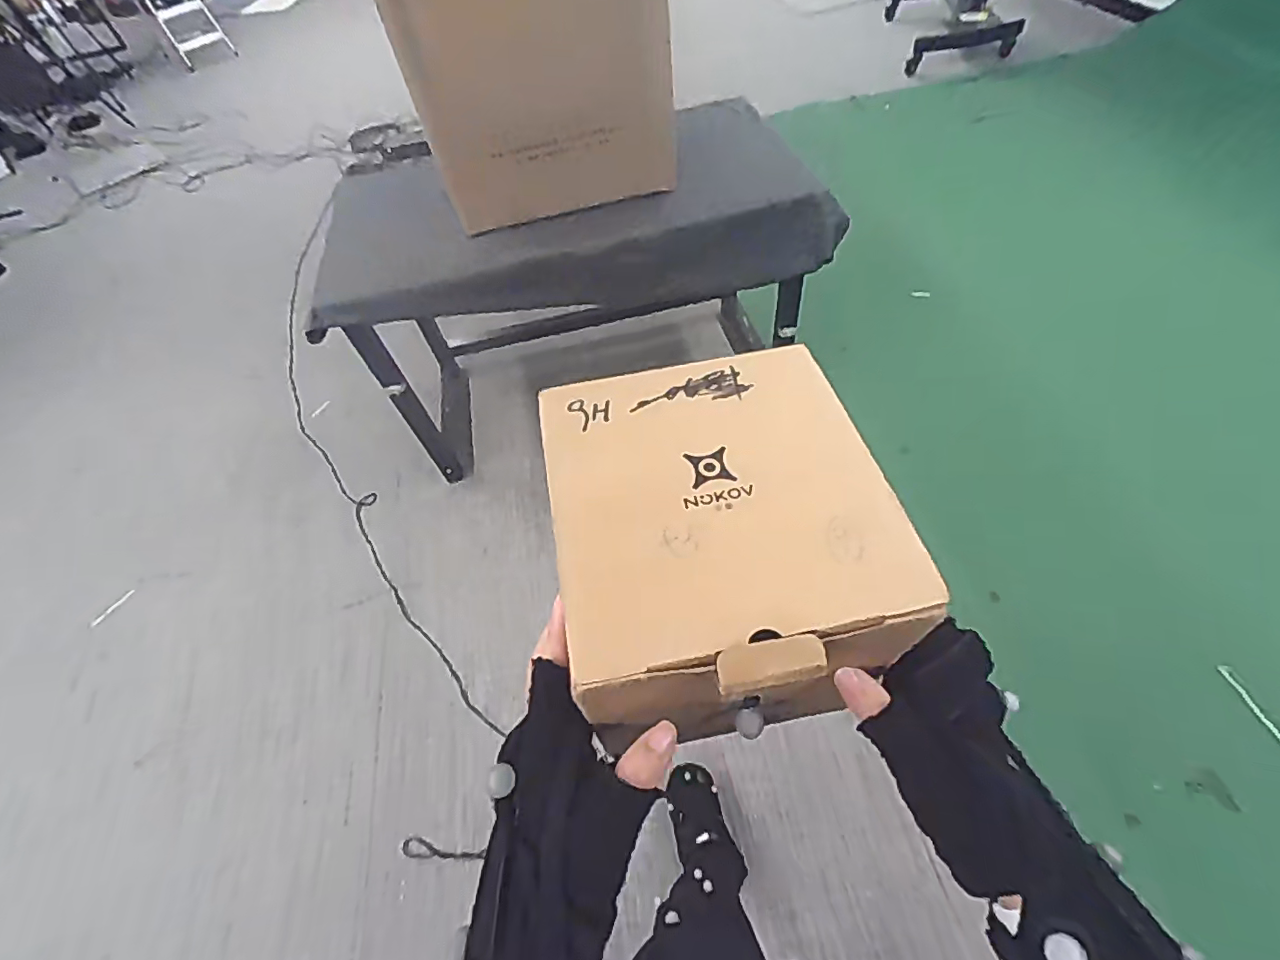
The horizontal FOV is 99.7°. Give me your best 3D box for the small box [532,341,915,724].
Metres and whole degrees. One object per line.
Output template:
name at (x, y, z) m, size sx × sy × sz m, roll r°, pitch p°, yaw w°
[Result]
small box at (0.034, 0.044, 0.344) m, size 0.168 × 0.176 × 0.179 m, roll -10°, pitch 56°, yaw -3°
